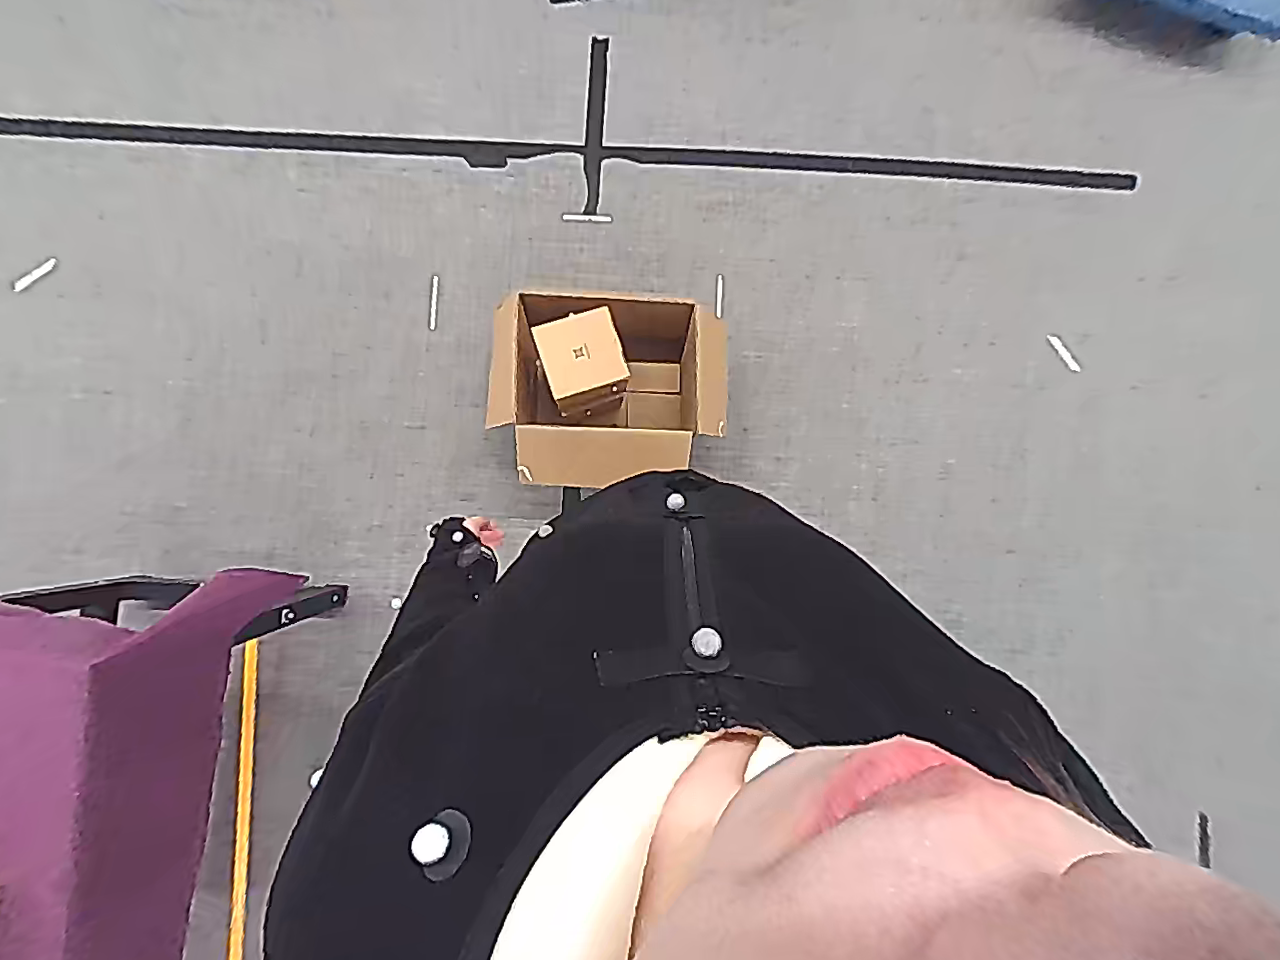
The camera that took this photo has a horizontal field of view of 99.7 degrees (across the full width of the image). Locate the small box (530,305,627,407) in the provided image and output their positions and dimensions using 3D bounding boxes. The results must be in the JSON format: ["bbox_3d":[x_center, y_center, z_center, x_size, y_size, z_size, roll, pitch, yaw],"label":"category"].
[{"bbox_3d":[-0.139,-0.277,1.249,0.179,0.176,0.168,-19,91,-6],"label":"small box"}]
